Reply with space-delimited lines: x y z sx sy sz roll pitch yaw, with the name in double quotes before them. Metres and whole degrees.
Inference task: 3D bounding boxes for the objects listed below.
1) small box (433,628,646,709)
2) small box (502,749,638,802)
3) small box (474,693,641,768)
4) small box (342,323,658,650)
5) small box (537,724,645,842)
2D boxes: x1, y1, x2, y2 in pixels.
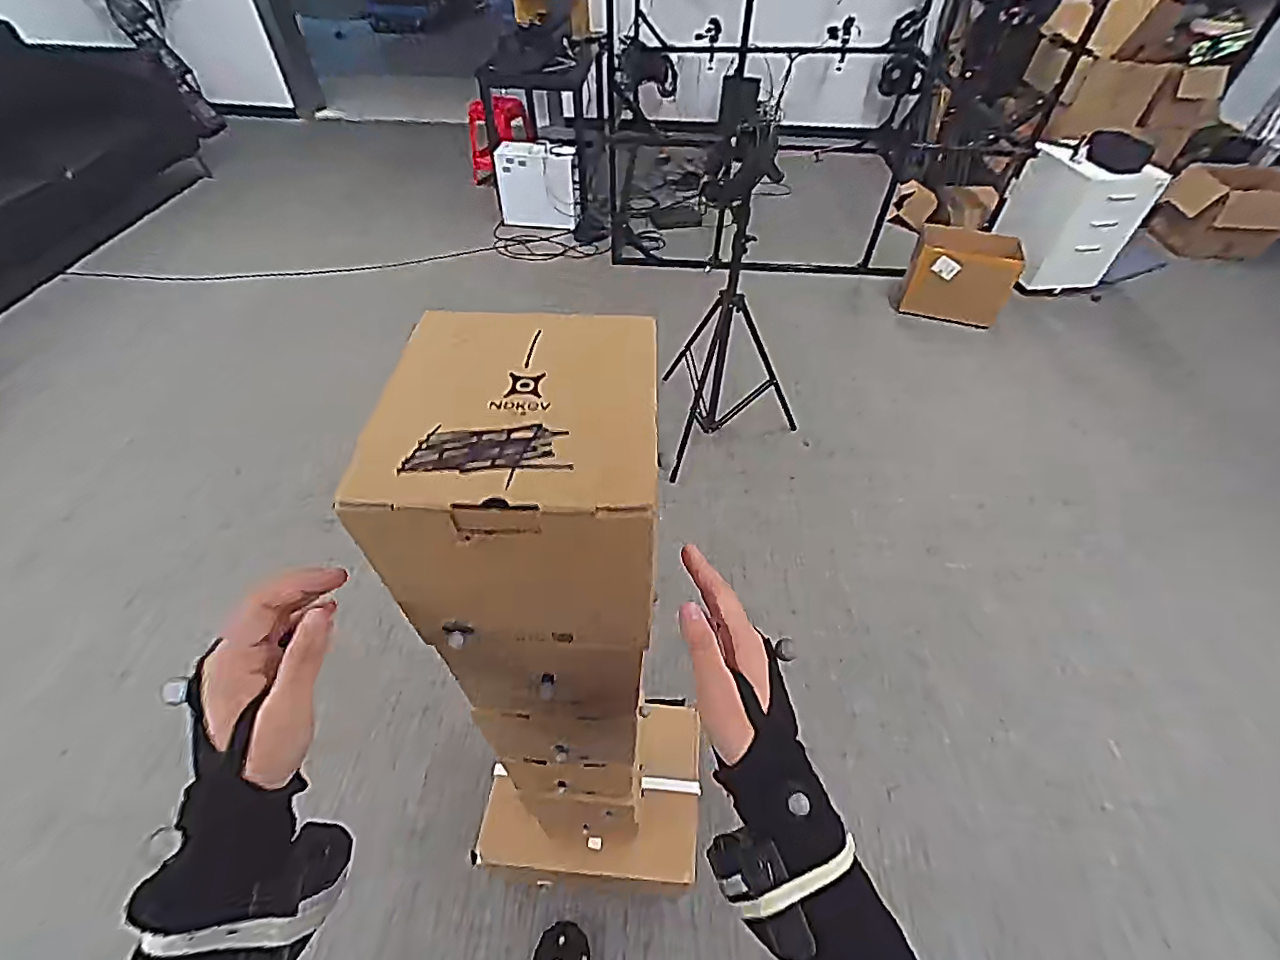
"small box" -0.076 0.109 0.520 0.168 0.176 0.179 1 50 -1
"small box" -0.083 0.332 0.760 0.168 0.176 0.179 3 49 1
"small box" -0.080 0.221 0.639 0.168 0.176 0.179 1 50 0
"small box" -0.071 0.009 0.388 0.168 0.176 0.179 1 49 0
"small box" -0.082 0.557 0.997 0.179 0.176 0.168 3 49 0
